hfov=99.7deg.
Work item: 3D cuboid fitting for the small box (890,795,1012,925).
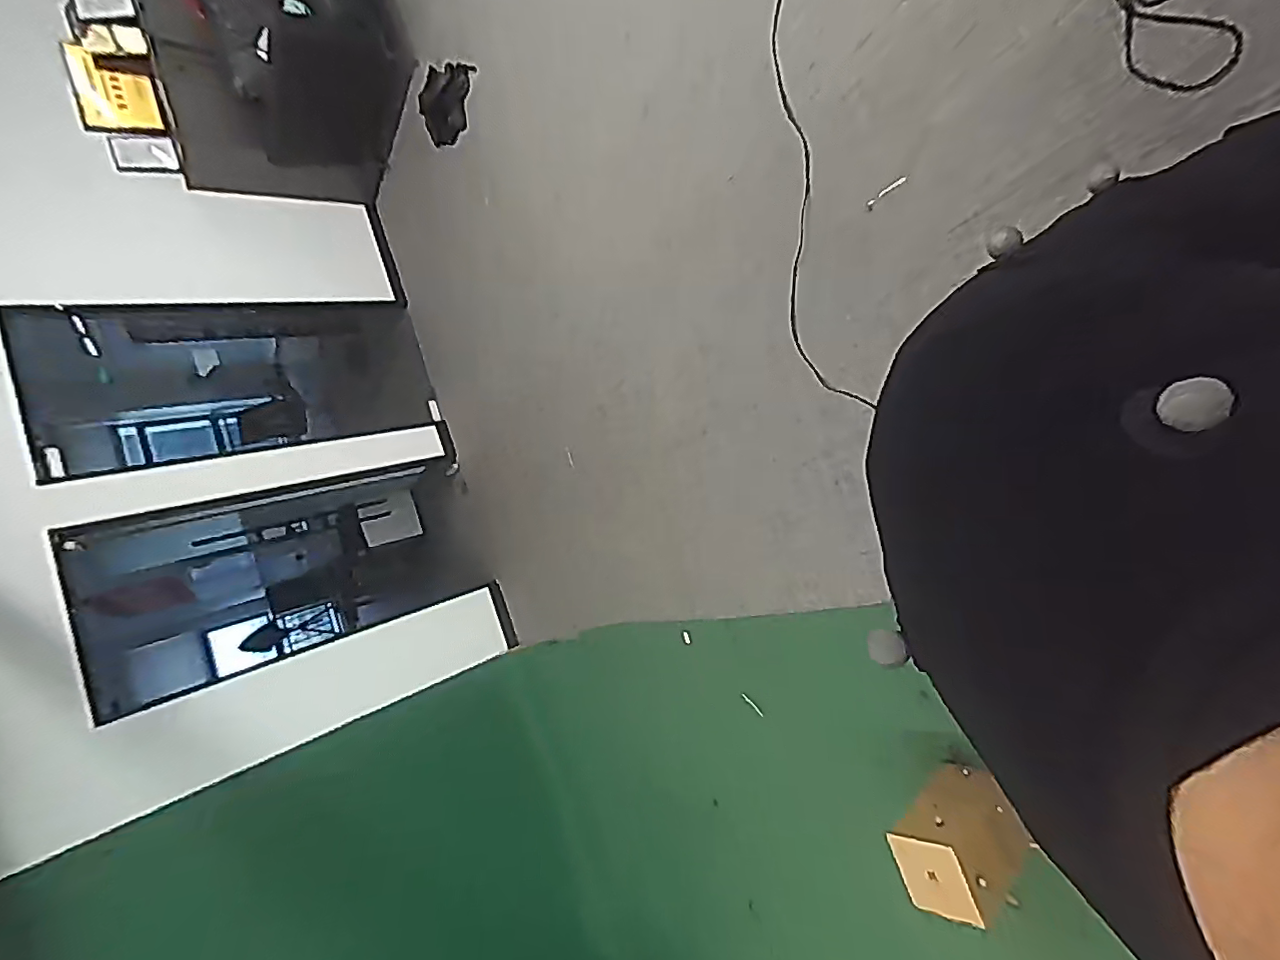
[{"bbox_3d":[0.733,0.879,1.276,0.168,0.176,0.179,-30,79,51],"label":"small box"}]
